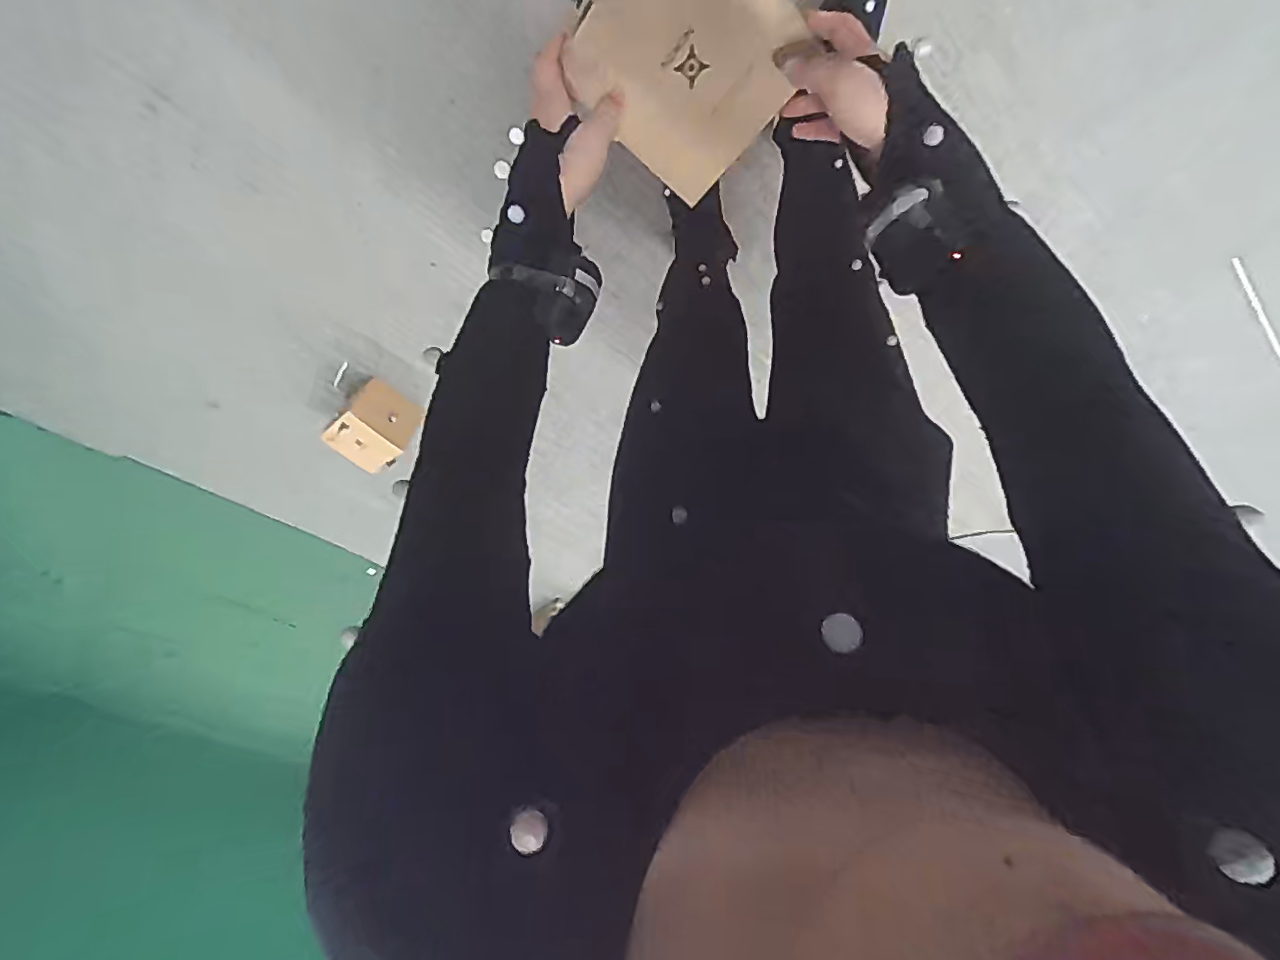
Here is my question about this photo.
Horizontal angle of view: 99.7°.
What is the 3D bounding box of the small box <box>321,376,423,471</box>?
[{"bbox_3d":[-0.752,-0.162,1.538,0.168,0.176,0.179,-26,128,30],"label":"small box"}]
